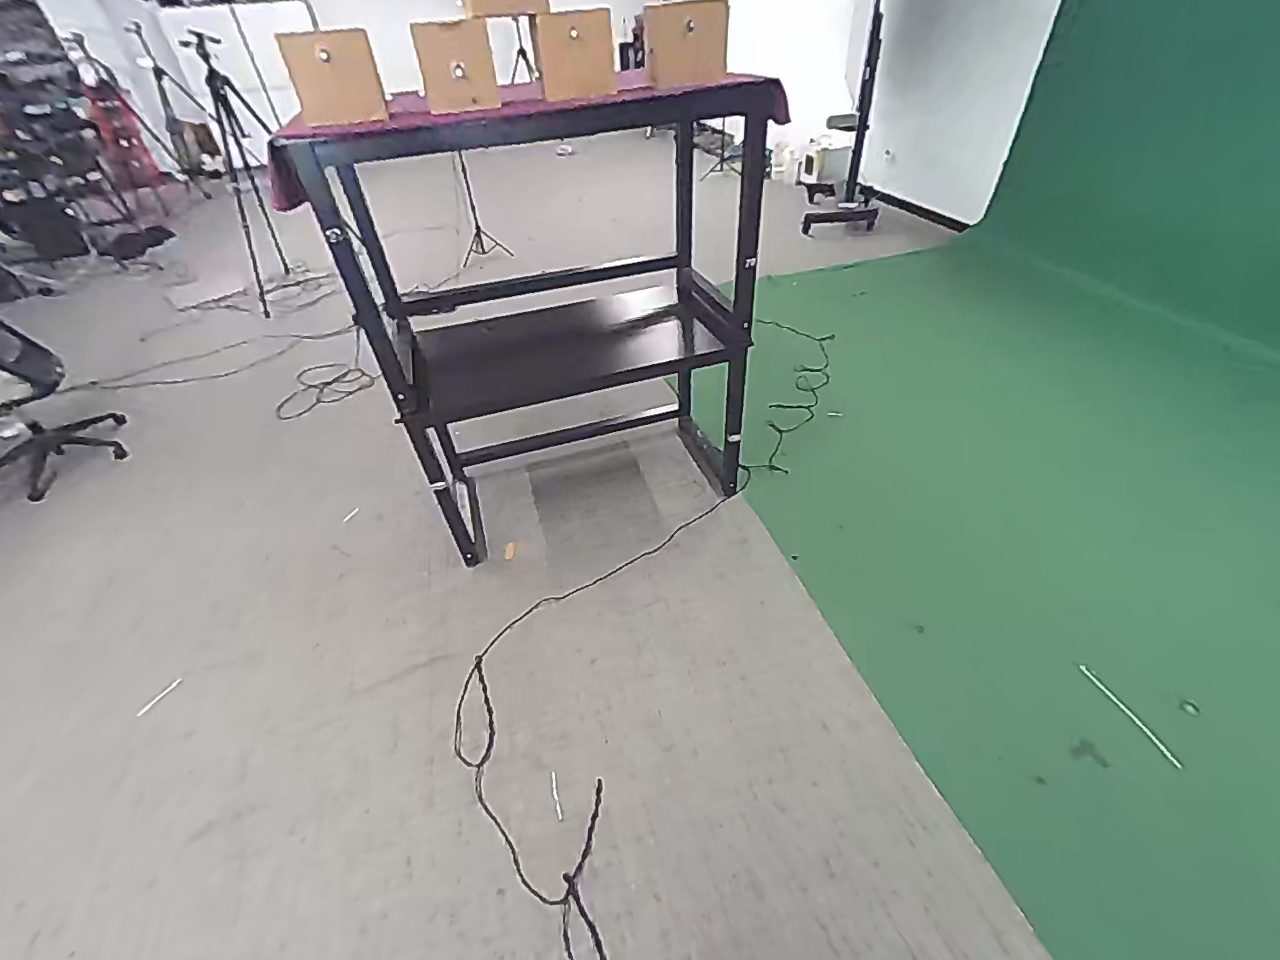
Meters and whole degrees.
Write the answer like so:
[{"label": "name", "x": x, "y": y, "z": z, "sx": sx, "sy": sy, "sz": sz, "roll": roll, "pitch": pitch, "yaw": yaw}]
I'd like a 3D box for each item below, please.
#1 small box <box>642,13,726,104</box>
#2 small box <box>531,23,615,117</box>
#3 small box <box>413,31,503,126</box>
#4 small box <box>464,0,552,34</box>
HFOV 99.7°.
[{"label": "small box", "x": 0.112, "y": -1.088, "z": 1.397, "sx": 0.179, "sy": 0.176, "sz": 0.168, "roll": -12, "pitch": 42, "yaw": -8}, {"label": "small box", "x": -0.163, "y": -1.023, "z": 1.348, "sx": 0.179, "sy": 0.176, "sz": 0.168, "roll": -14, "pitch": 41, "yaw": -10}, {"label": "small box", "x": -0.432, "y": -0.957, "z": 1.292, "sx": 0.168, "sy": 0.176, "sz": 0.179, "roll": -14, "pitch": 41, "yaw": -12}, {"label": "small box", "x": -0.309, "y": -1.118, "z": 1.218, "sx": 0.179, "sy": 0.176, "sz": 0.168, "roll": -14, "pitch": 41, "yaw": -14}]
